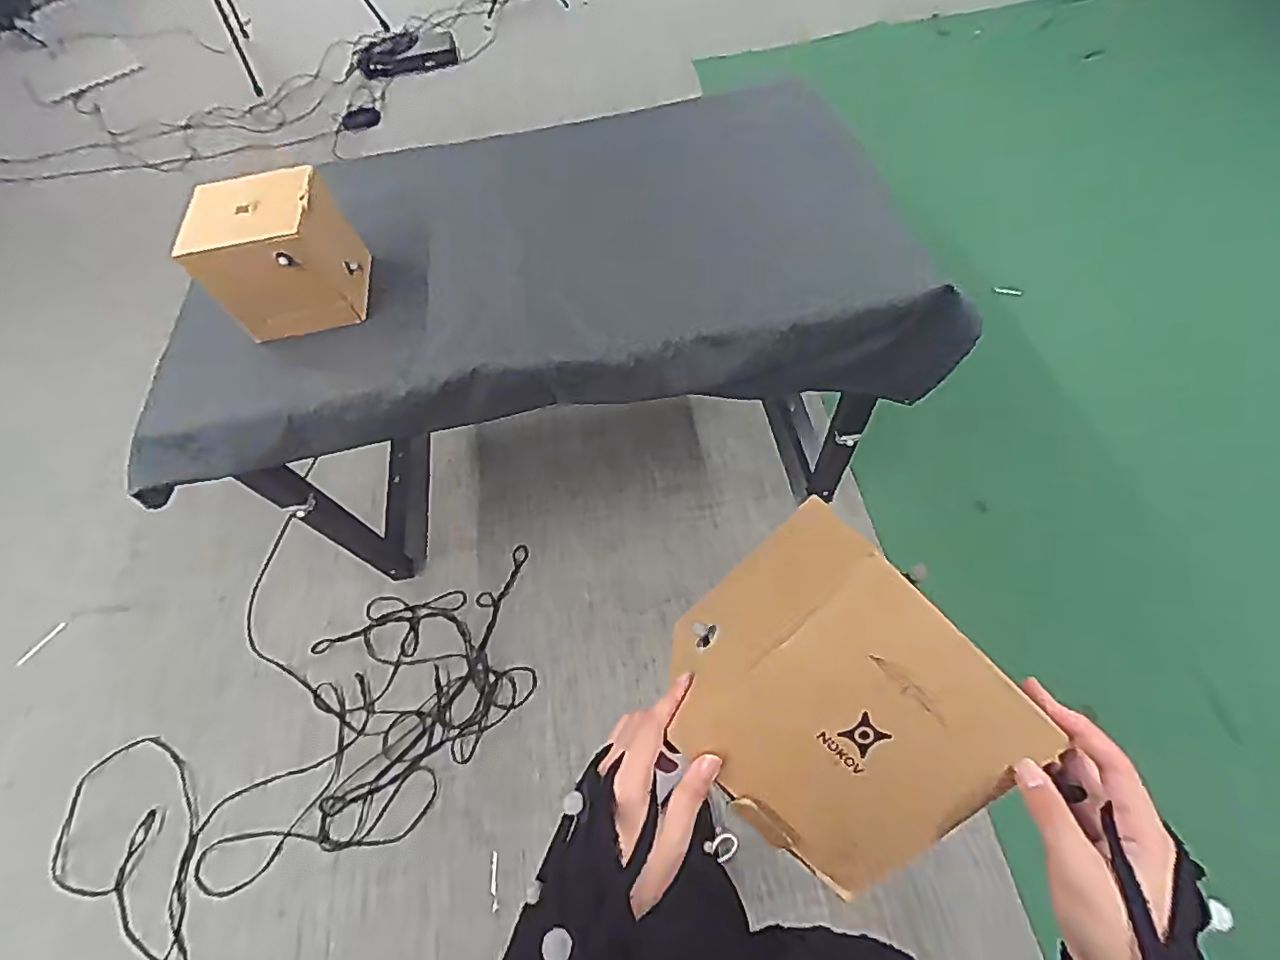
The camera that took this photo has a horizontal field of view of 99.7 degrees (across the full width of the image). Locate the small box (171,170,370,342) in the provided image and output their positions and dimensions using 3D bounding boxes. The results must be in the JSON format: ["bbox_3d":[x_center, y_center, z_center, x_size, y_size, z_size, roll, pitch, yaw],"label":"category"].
[{"bbox_3d":[-0.547,-0.334,0.829,0.179,0.176,0.168,-12,60,-1],"label":"small box"}]
